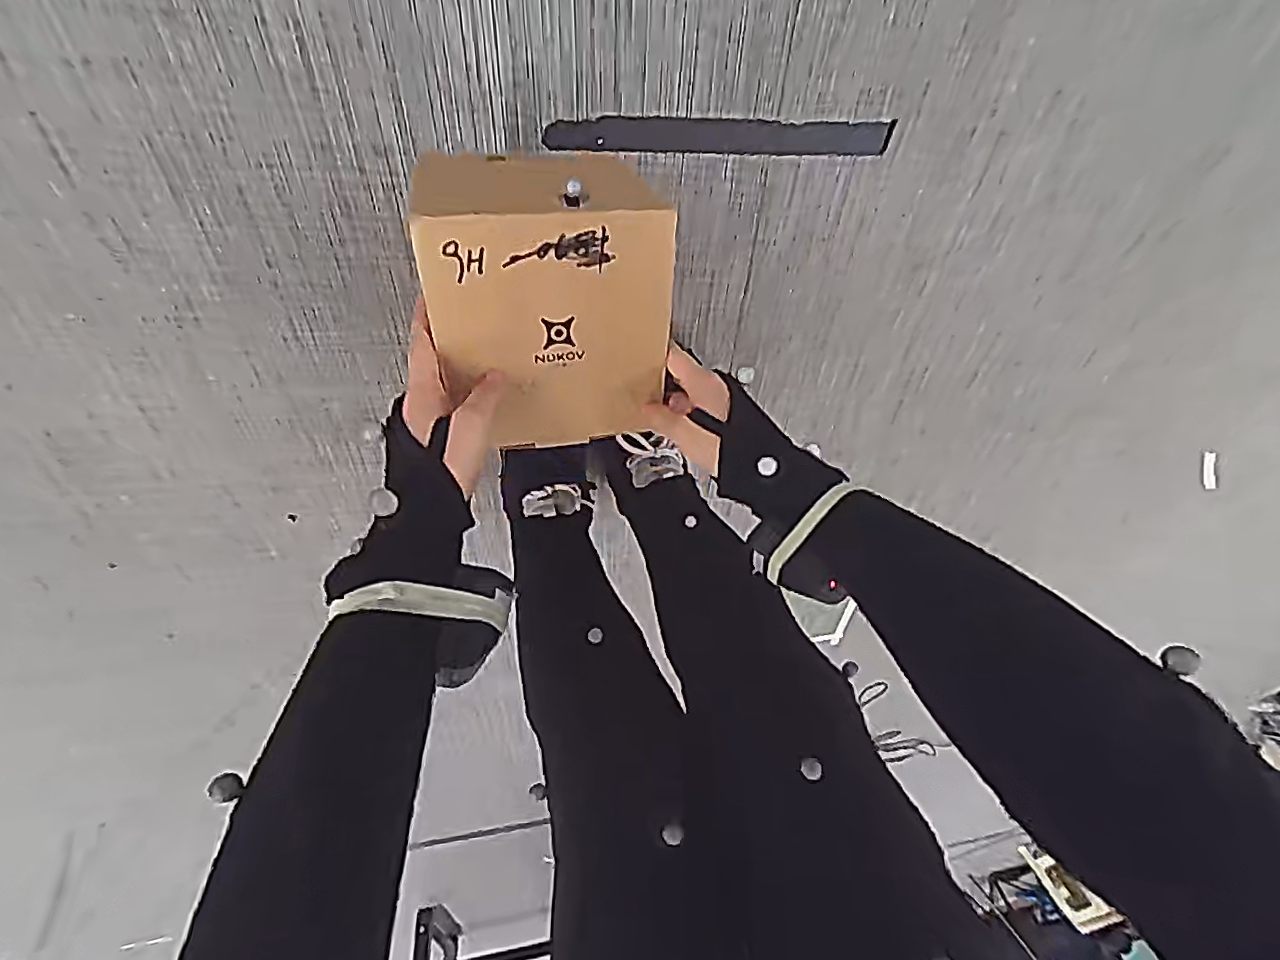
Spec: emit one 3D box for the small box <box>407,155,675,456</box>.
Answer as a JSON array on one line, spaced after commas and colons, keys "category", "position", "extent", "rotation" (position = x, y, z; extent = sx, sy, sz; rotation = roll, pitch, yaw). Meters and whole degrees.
[{"category": "small box", "position": [-0.082, -0.145, 0.441], "extent": [0.168, 0.176, 0.179], "rotation": [-9, 133, -14]}]
